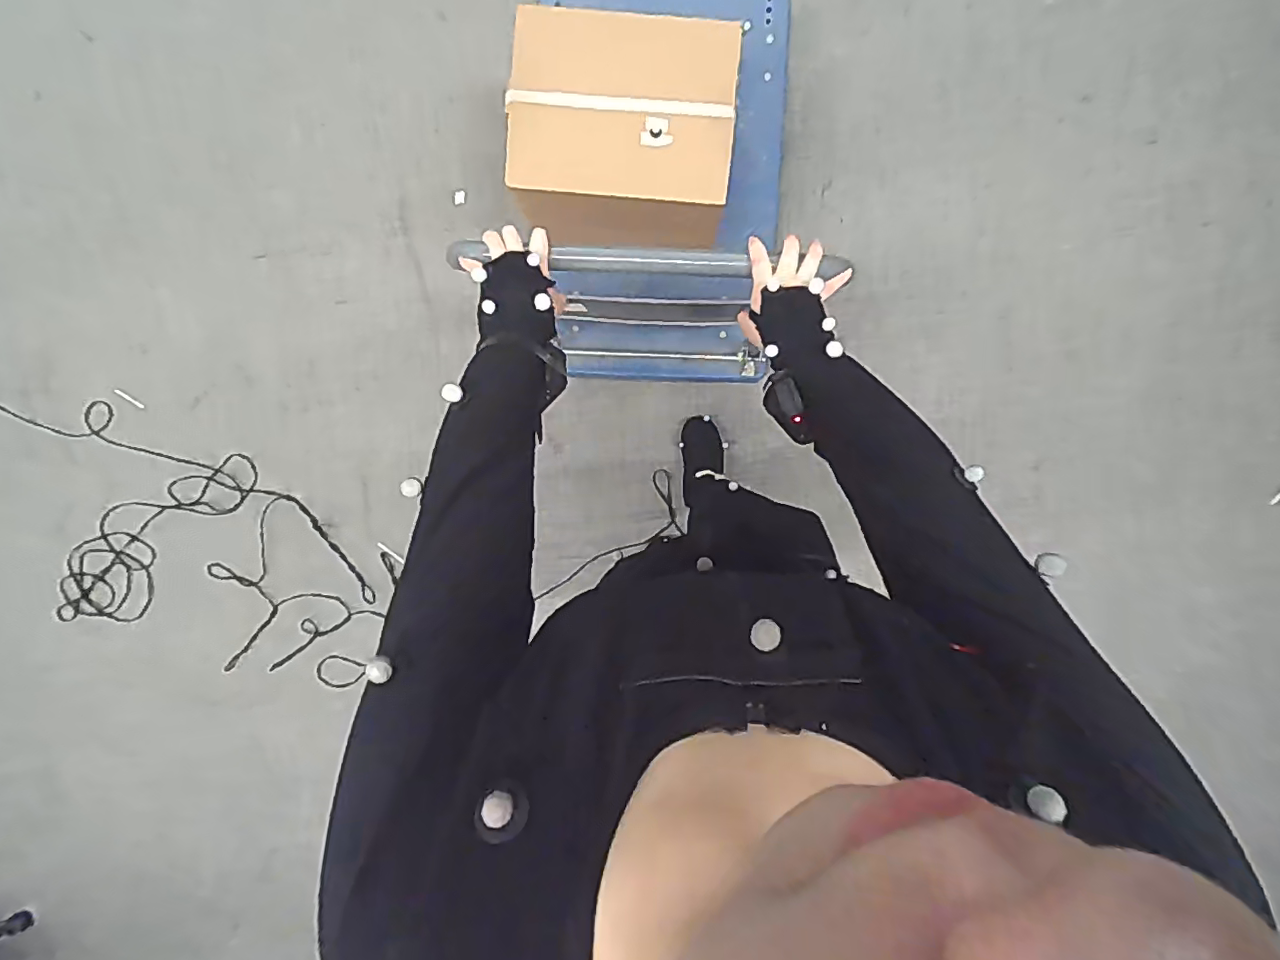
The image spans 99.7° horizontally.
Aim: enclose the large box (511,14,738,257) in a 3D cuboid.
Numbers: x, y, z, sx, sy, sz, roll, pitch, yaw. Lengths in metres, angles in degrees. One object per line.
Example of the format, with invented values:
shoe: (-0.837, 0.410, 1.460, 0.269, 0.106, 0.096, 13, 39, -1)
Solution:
large box: (-0.031, -0.686, 1.133, 0.408, 0.320, 0.320, 5, 94, 0)
